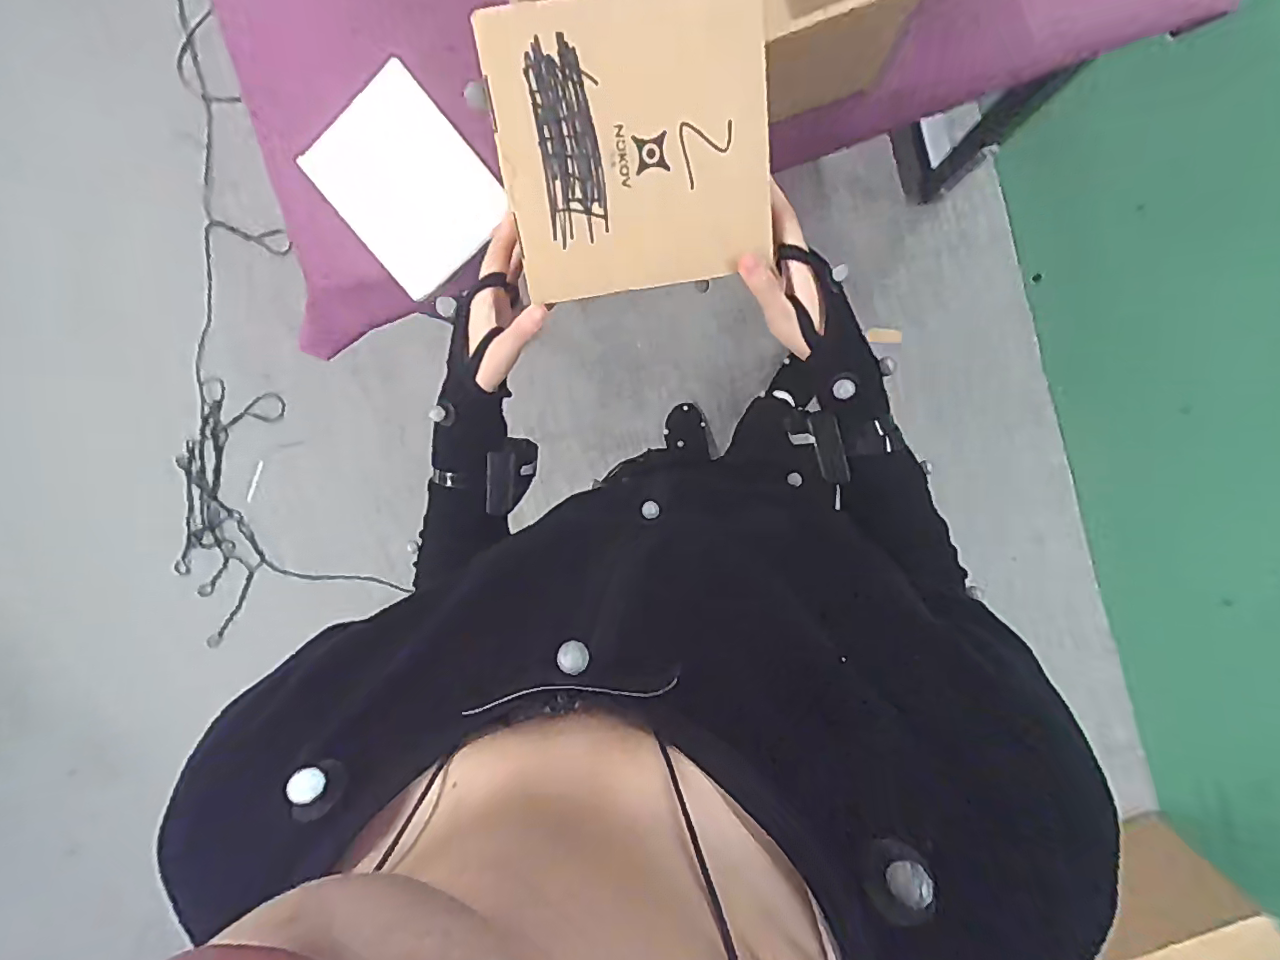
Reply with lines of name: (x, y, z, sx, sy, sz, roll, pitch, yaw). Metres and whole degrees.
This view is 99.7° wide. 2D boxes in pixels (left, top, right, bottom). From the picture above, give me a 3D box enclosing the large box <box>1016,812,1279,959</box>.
large box: (1.265, 1.128, 1.331, 0.408, 0.320, 0.320, -32, 93, 9)
